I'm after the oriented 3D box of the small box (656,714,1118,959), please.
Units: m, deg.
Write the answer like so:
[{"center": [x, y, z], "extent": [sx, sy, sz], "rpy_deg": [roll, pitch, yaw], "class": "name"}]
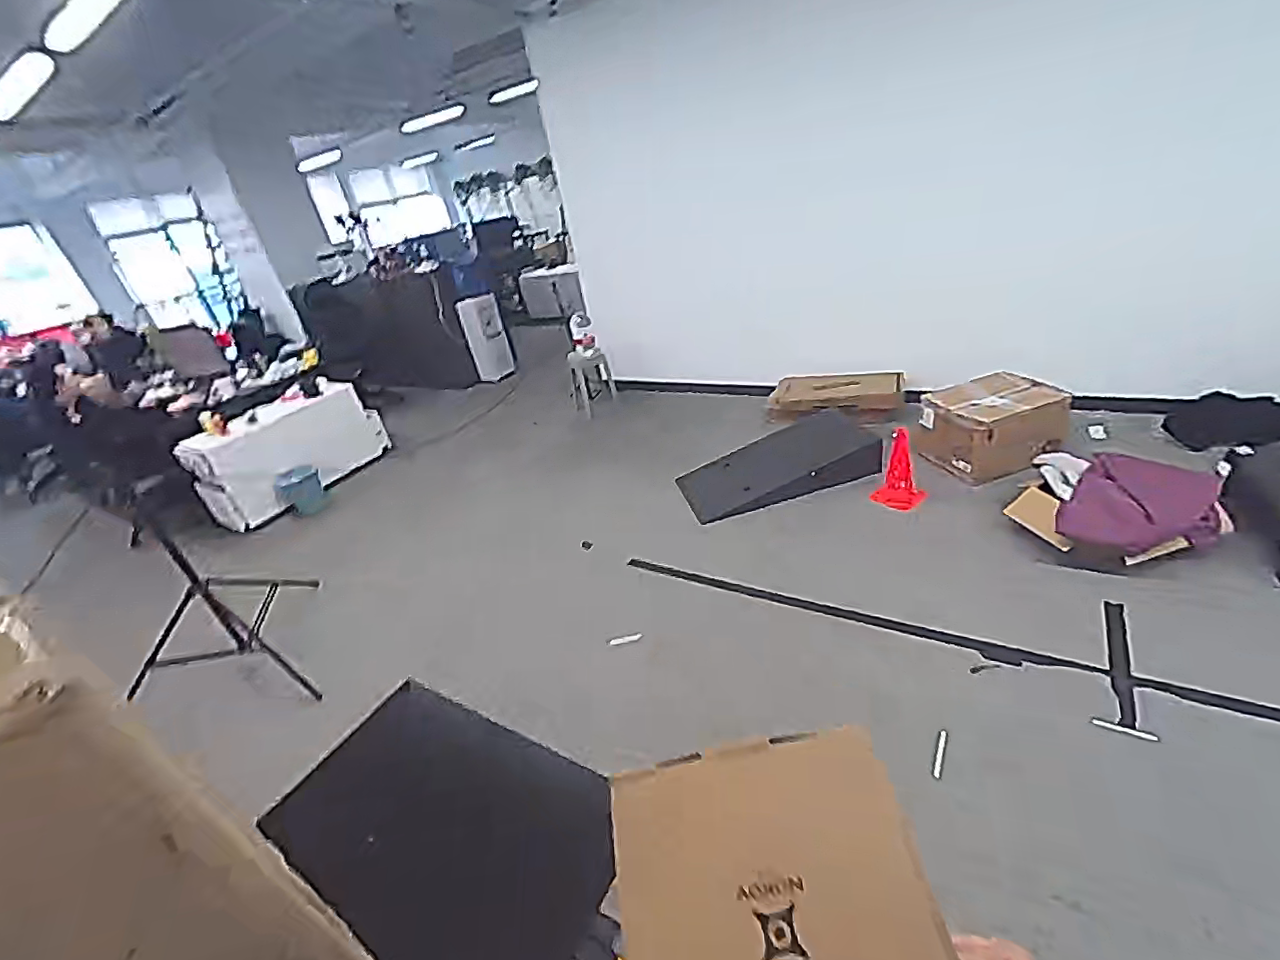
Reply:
[{"center": [0.109, 0.242, 0.264], "extent": [0.168, 0.176, 0.179], "rpy_deg": [-13, 49, 3], "class": "small box"}]
